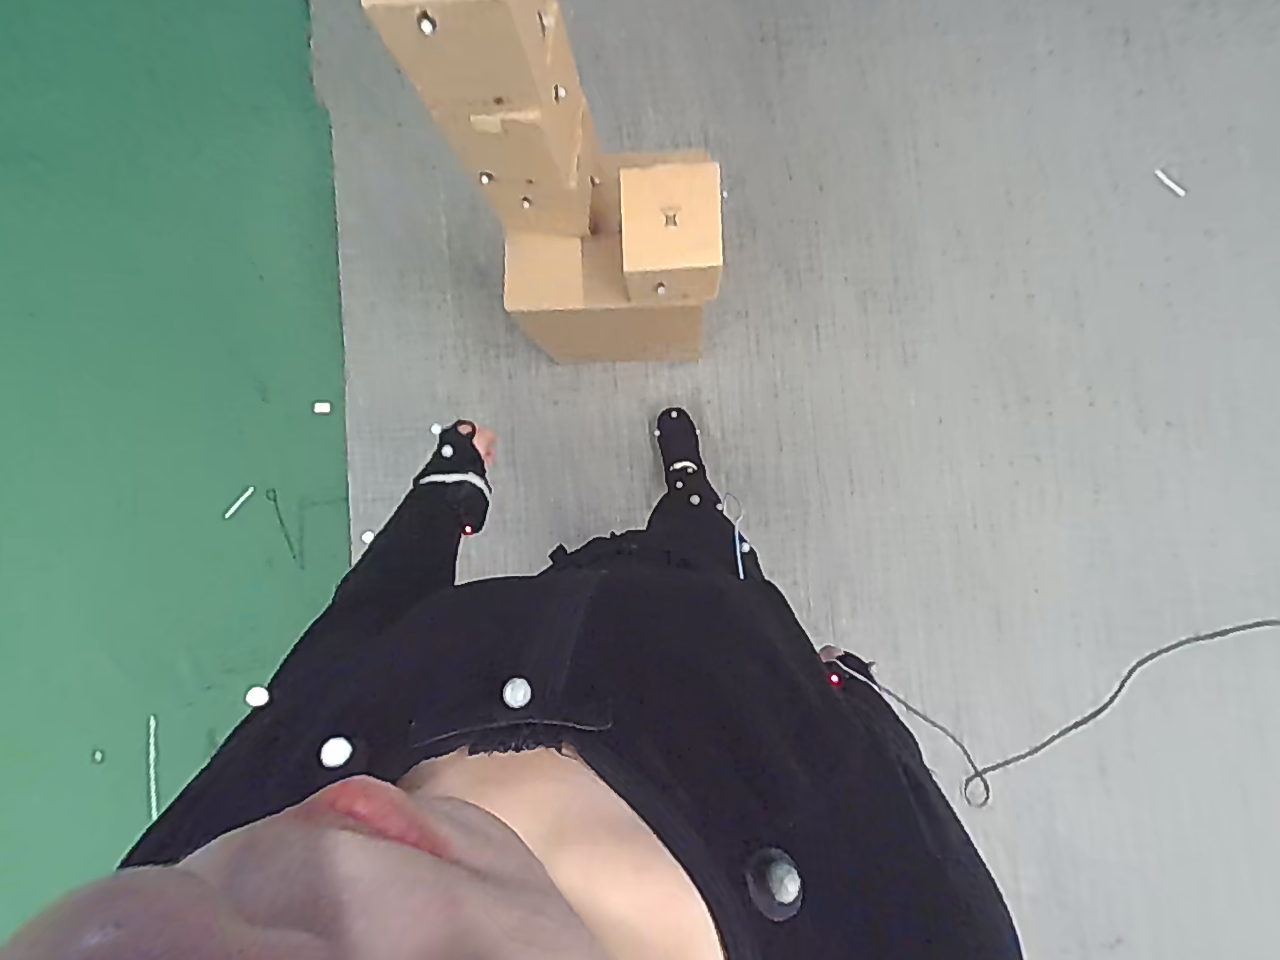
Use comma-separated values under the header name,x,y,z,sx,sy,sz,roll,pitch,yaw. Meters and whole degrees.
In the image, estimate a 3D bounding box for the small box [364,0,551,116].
name,x,y,z,sx,sy,sz,roll,pitch,yaw
small box,-0.212,-0.593,0.668,0.168,0.176,0.179,1,86,6

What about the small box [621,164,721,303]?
name,x,y,z,sx,sy,sz,roll,pitch,yaw
small box,0.057,-0.427,0.969,0.168,0.176,0.179,-2,87,4

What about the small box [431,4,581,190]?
name,x,y,z,sx,sy,sz,roll,pitch,yaw
small box,-0.194,-0.578,0.832,0.168,0.176,0.179,8,87,5

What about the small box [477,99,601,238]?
name,x,y,z,sx,sy,sz,roll,pitch,yaw
small box,-0.178,-0.567,0.995,0.179,0.176,0.168,6,88,4
